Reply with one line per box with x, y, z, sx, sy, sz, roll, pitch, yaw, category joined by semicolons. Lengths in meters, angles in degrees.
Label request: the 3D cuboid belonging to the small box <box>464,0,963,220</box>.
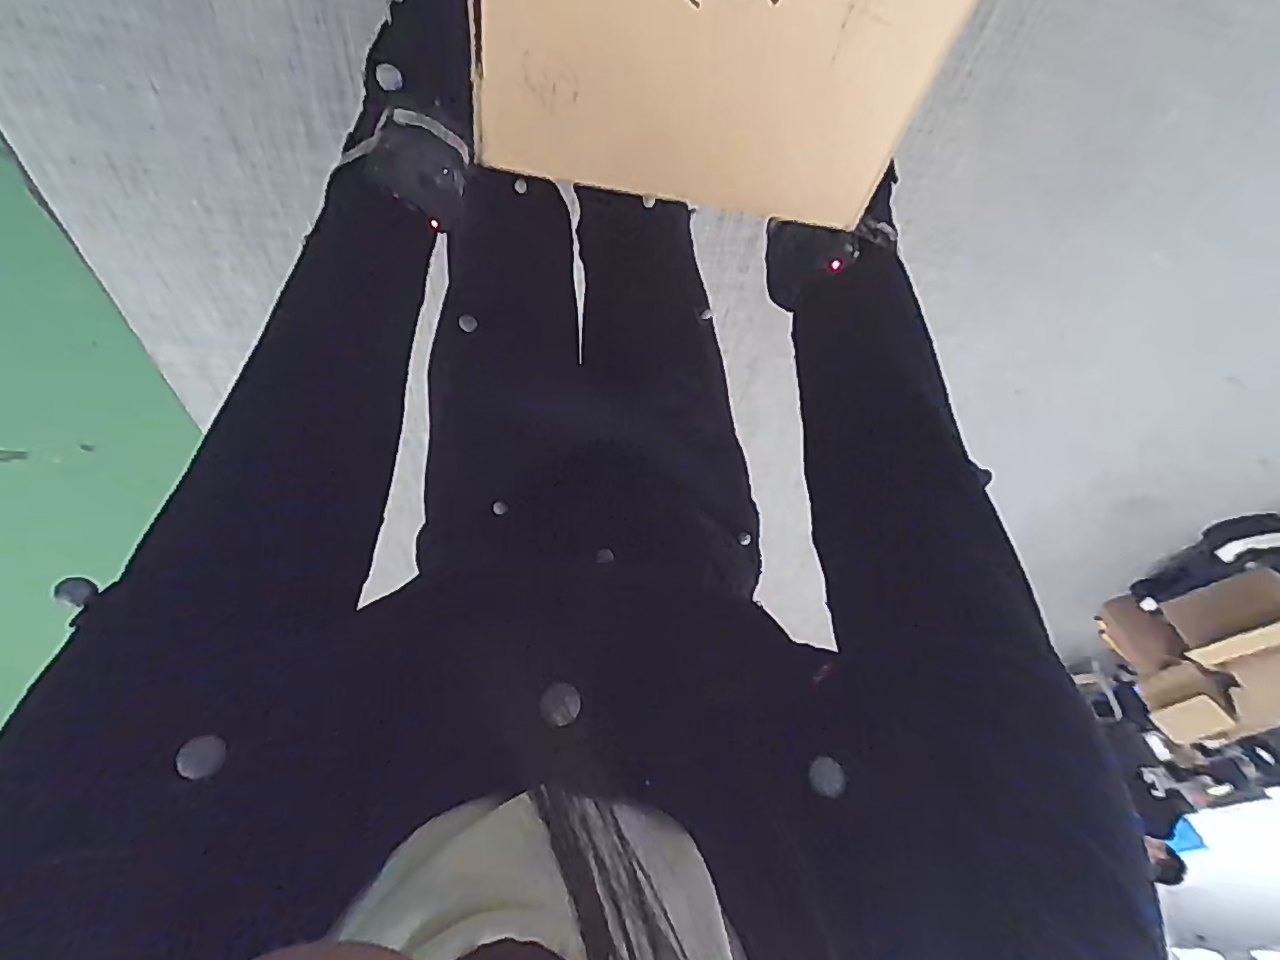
0.023;-0.239;0.224;0.179;0.176;0.168;1;143;-12;small box
